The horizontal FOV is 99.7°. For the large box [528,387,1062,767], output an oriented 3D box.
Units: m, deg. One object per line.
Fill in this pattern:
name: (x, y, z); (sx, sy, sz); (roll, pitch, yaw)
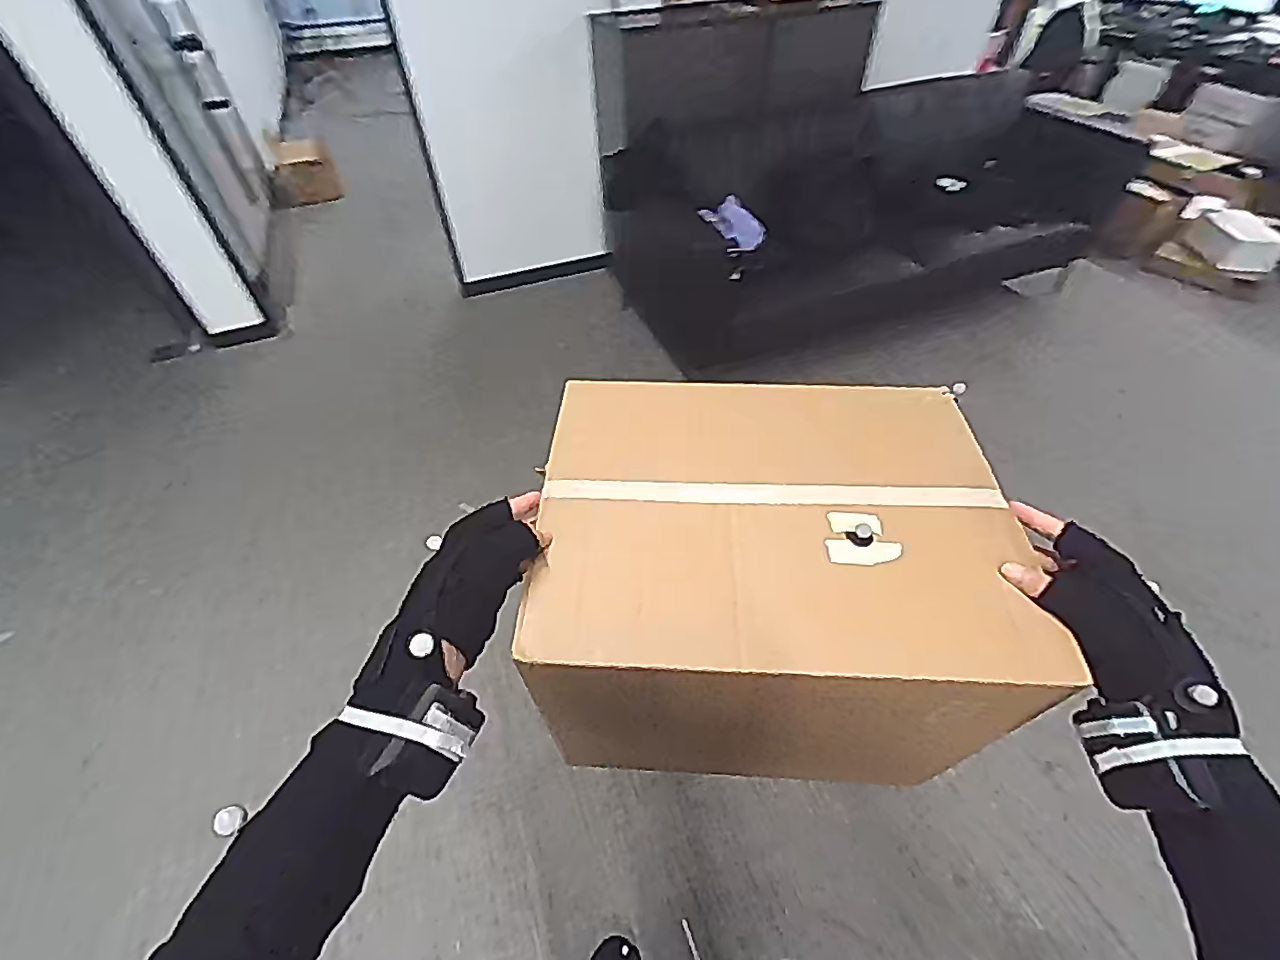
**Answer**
large box: (0.114, 0.114, 0.604); (0.408, 0.320, 0.320); (2, 51, 1)
